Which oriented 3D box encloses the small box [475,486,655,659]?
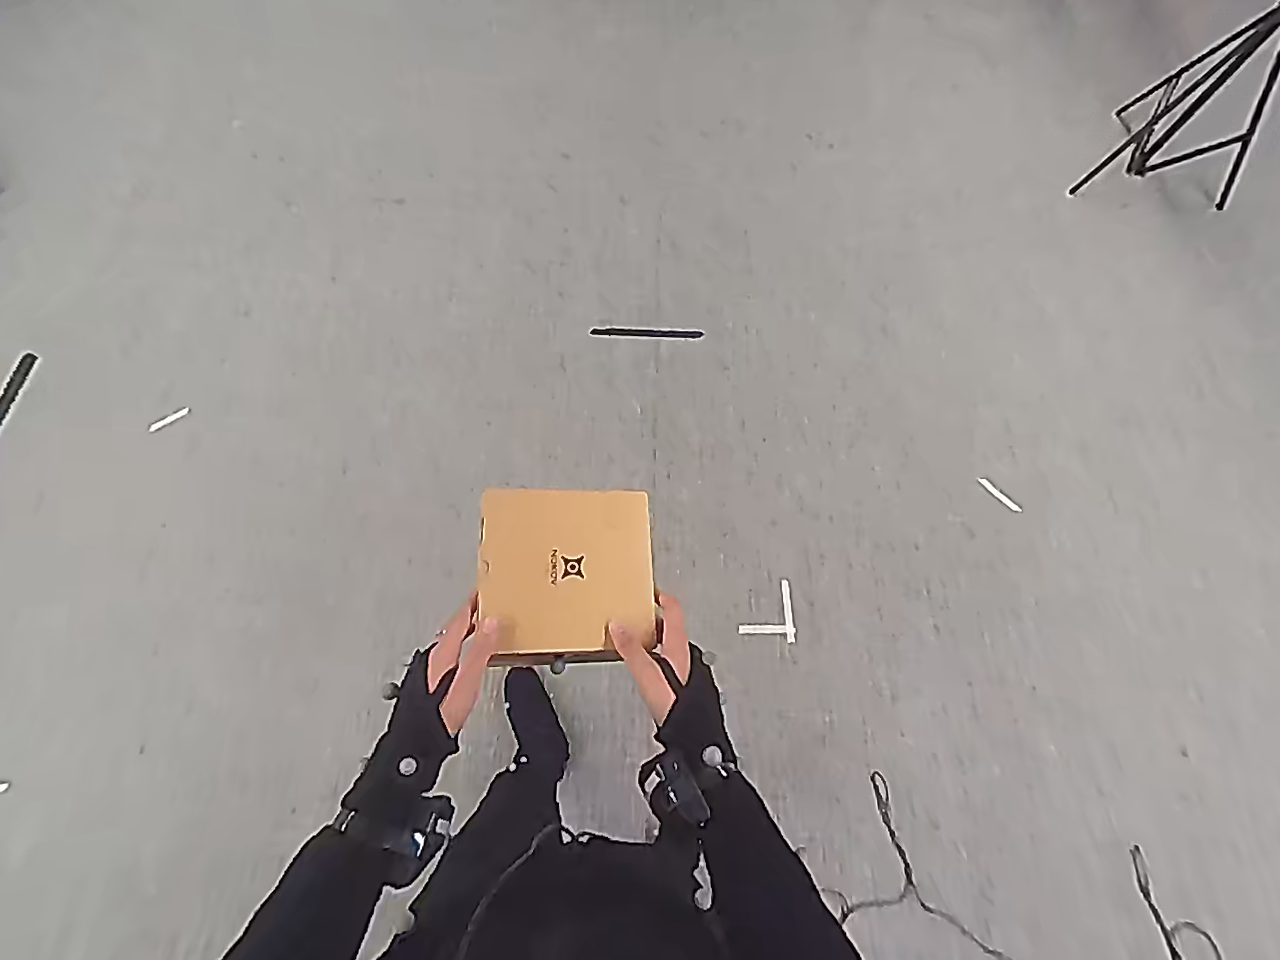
[{"bbox_3d":[-0.087,0.114,0.621,0.179,0.176,0.168,2,68,-10],"label":"small box"}]
